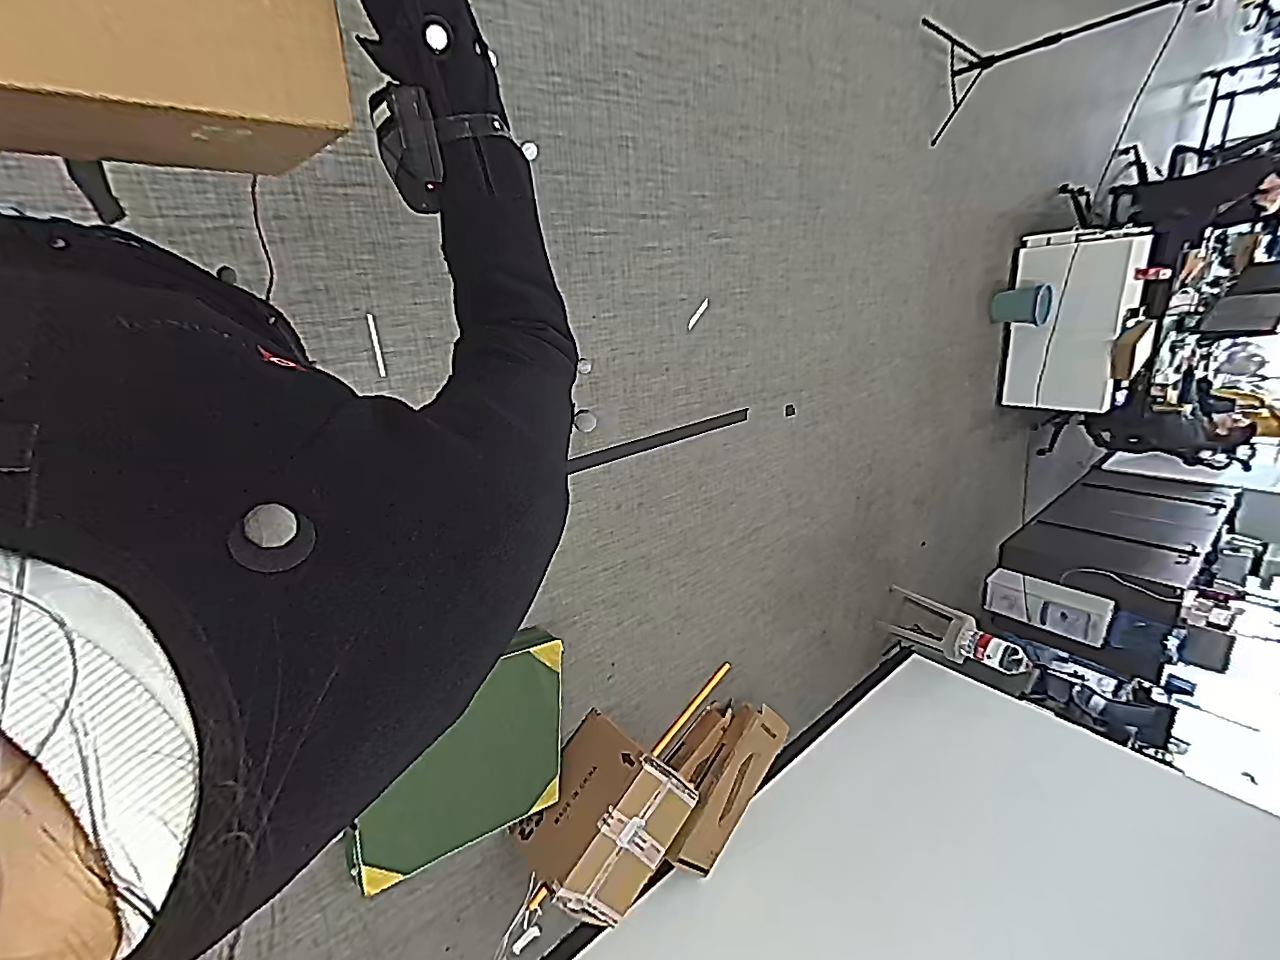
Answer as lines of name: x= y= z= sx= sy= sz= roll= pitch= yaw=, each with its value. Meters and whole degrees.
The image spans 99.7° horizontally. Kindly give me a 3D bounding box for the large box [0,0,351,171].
large box: x=-0.444 y=-0.375 z=0.301 sx=0.408 sy=0.320 sz=0.320 roll=-18 pitch=120 yaw=-36
